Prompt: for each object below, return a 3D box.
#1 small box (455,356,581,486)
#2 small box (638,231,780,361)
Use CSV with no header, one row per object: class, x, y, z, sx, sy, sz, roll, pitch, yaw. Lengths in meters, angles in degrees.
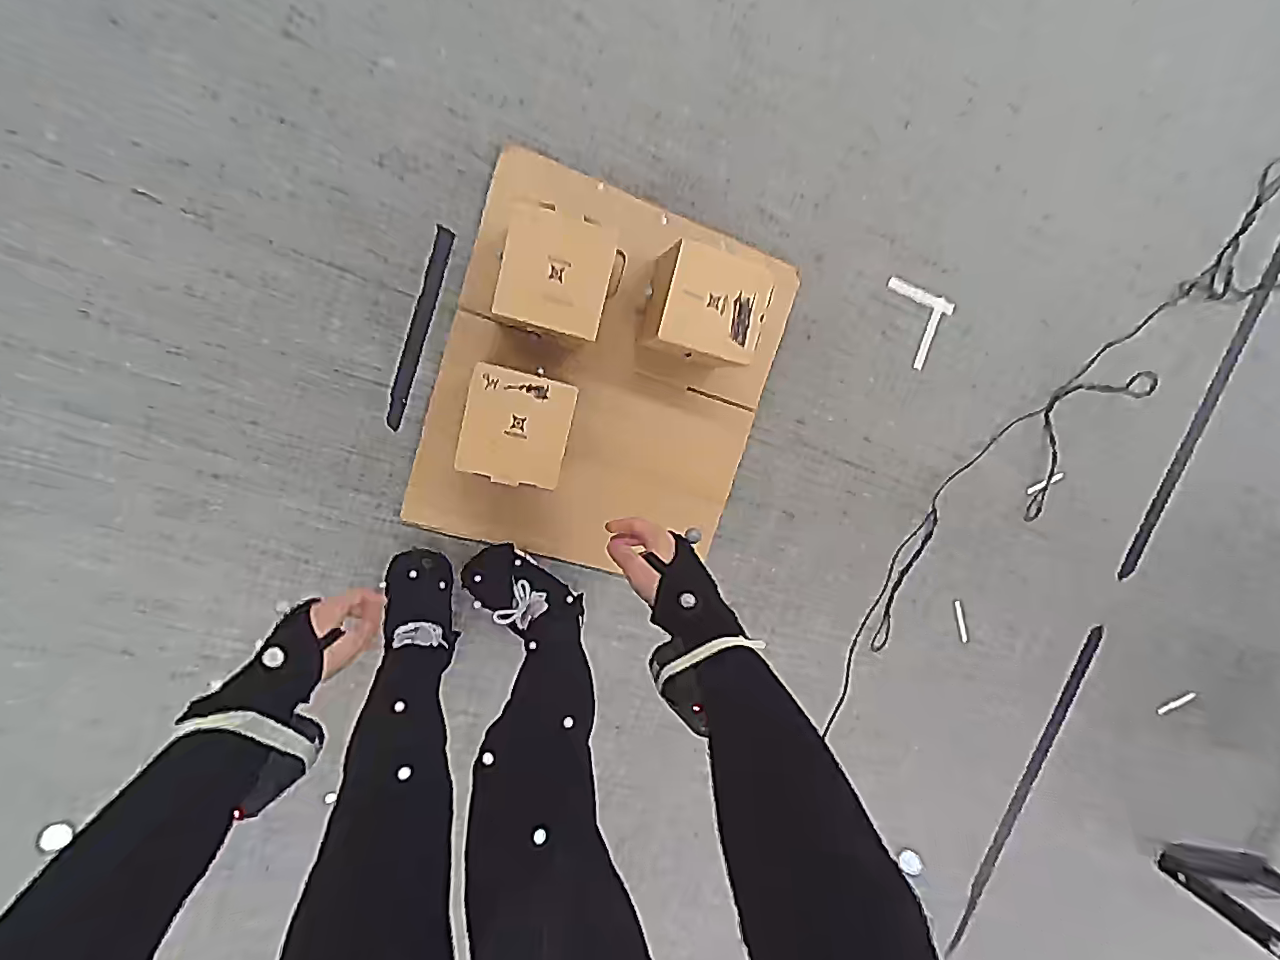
small box,-0.207,-0.105,0.923,0.168,0.176,0.179,12,99,-16
small box,0.113,-0.314,0.959,0.179,0.176,0.168,12,98,-15
